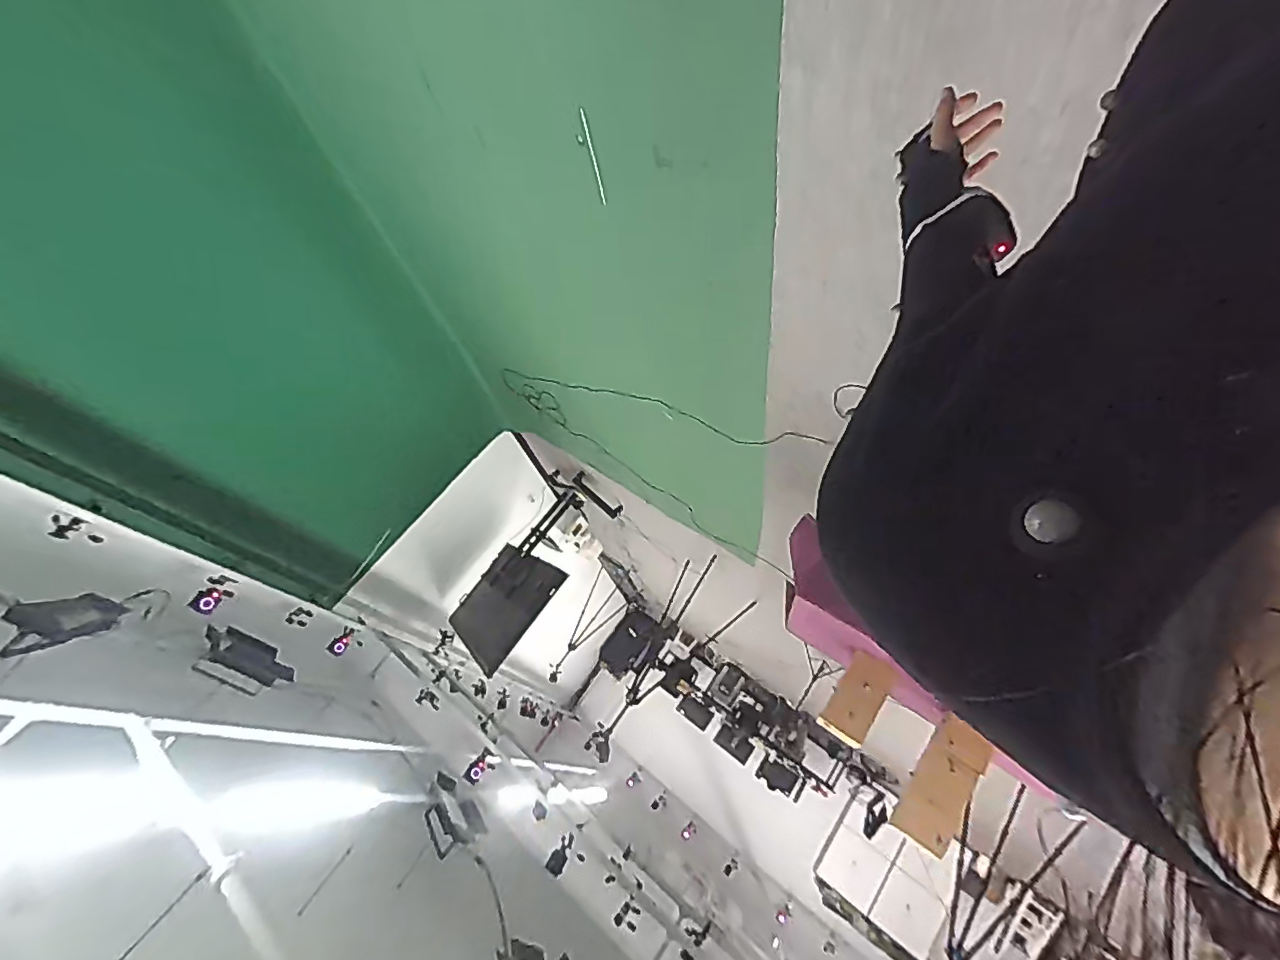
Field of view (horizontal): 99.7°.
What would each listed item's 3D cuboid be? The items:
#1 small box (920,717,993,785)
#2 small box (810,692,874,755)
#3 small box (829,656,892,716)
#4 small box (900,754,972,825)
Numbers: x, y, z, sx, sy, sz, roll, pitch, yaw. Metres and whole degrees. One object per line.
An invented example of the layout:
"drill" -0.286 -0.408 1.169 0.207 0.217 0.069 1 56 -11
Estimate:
"small box" 1.227 1.049 2.095 0.179 0.176 0.168 31 160 26
"small box" 0.821 0.985 2.201 0.179 0.176 0.168 30 159 25
"small box" 0.919 0.864 2.251 0.179 0.176 0.168 32 160 24
"small box" 1.122 1.169 2.051 0.168 0.176 0.179 31 160 26
